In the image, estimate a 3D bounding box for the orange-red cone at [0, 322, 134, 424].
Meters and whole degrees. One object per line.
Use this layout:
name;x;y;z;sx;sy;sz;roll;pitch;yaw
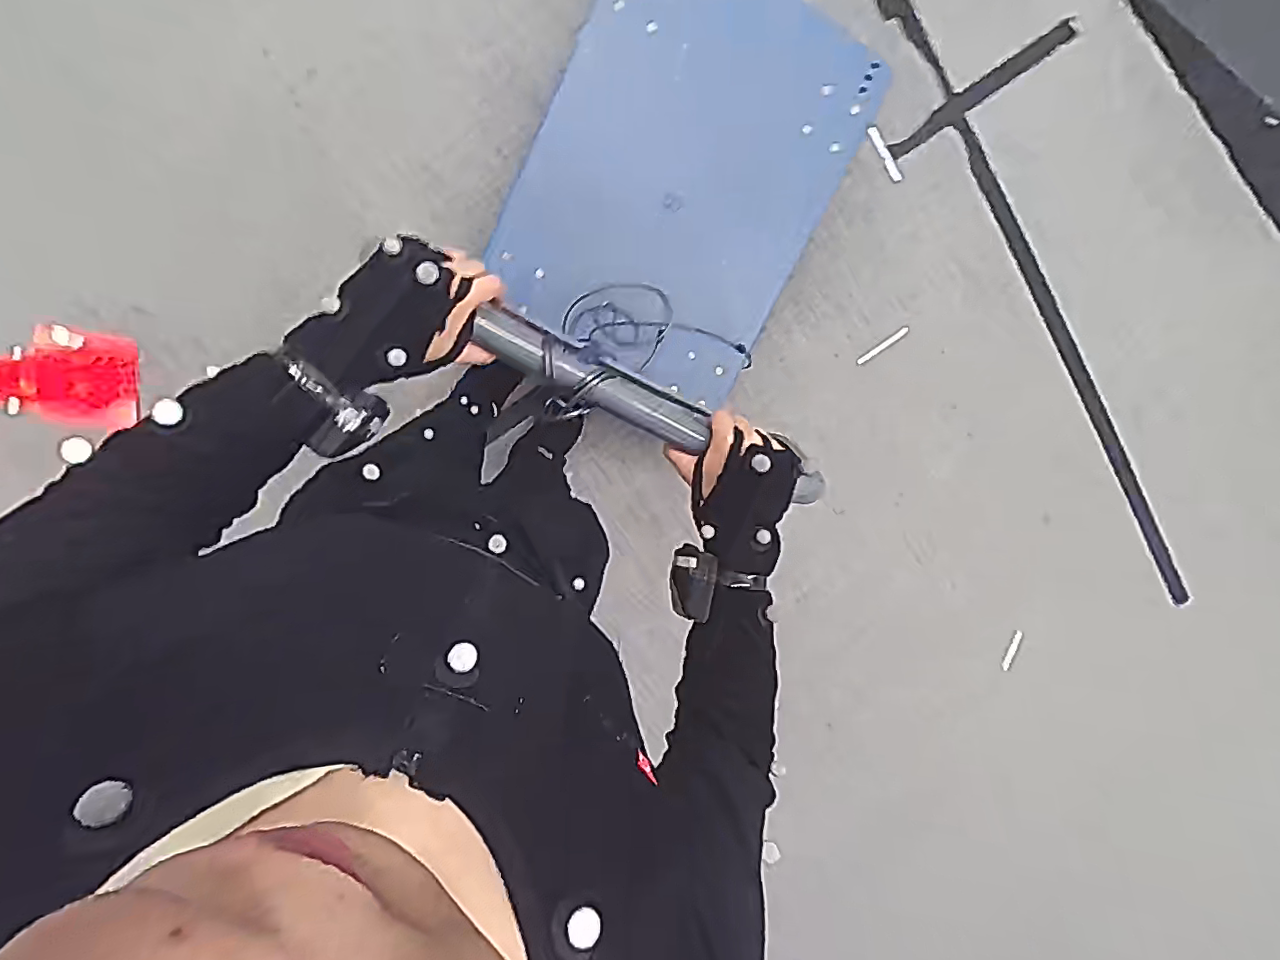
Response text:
orange-red cone;-1.194;-0.192;1.015;0.199;0.360;0.198;9;102;-10
